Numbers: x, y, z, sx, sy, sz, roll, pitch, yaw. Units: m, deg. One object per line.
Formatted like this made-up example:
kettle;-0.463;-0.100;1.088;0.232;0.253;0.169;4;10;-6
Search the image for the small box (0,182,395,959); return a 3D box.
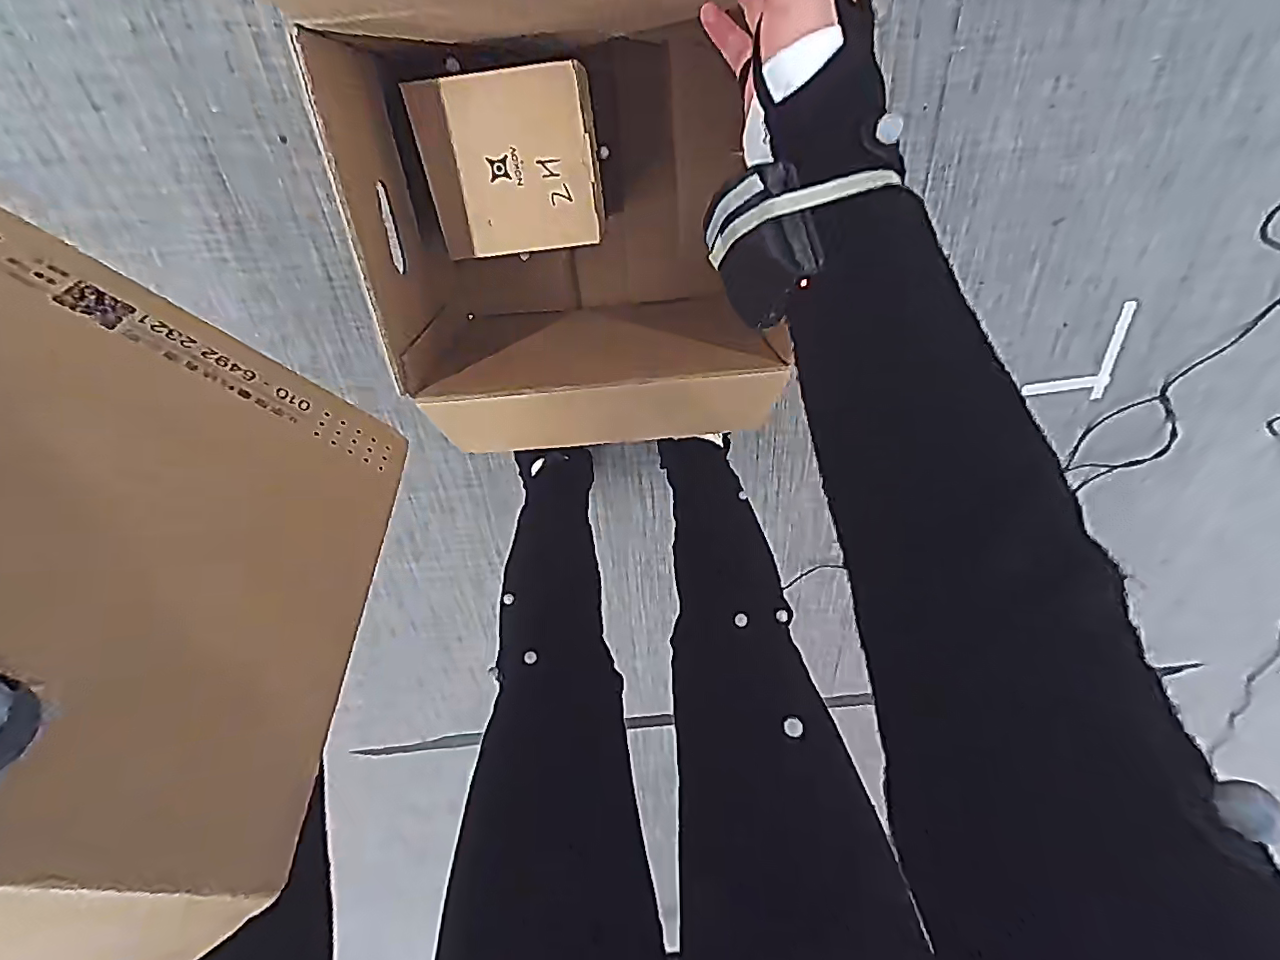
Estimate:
small box;-0.200;0.045;0.159;0.179;0.176;0.168;-39;127;22
